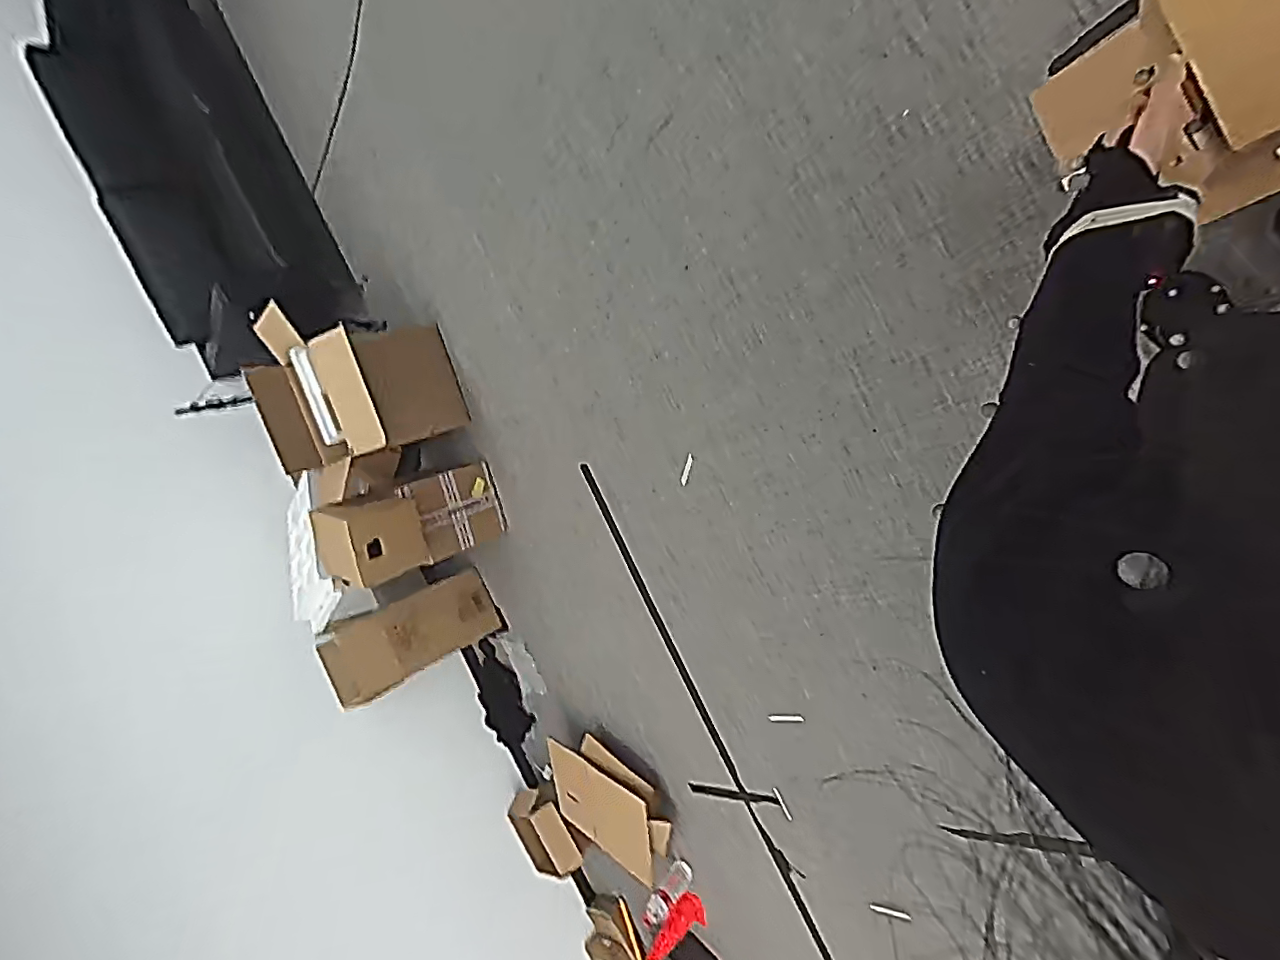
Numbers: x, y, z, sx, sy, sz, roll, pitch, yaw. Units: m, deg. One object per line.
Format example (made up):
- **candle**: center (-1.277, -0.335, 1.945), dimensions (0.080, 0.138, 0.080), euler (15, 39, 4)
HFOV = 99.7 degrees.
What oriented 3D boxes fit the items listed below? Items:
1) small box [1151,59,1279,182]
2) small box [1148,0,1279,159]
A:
- **small box**: center (0.777, -0.497, 0.667), dimensions (0.179, 0.176, 0.168), euler (-28, 90, 45)
- **small box**: center (0.558, -0.398, 0.445), dimensions (0.168, 0.176, 0.179), euler (-27, 91, 46)
